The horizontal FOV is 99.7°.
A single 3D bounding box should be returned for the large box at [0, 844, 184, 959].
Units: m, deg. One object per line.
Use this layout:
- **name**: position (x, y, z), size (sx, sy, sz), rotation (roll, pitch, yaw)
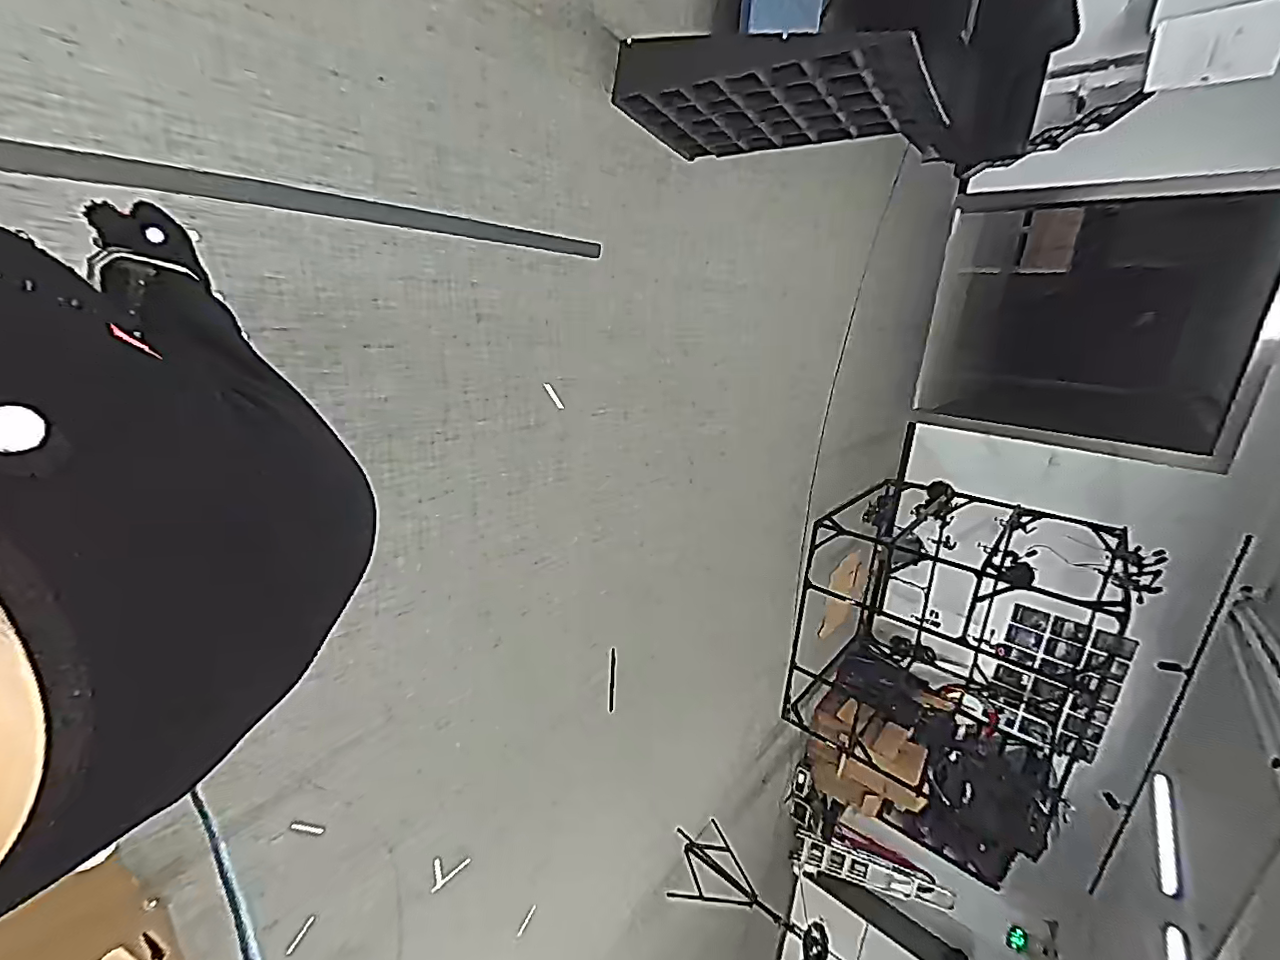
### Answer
- **large box**: position (-1.272, 1.089, 1.119), size (0.408, 0.320, 0.320), rotation (-35, 130, -39)
